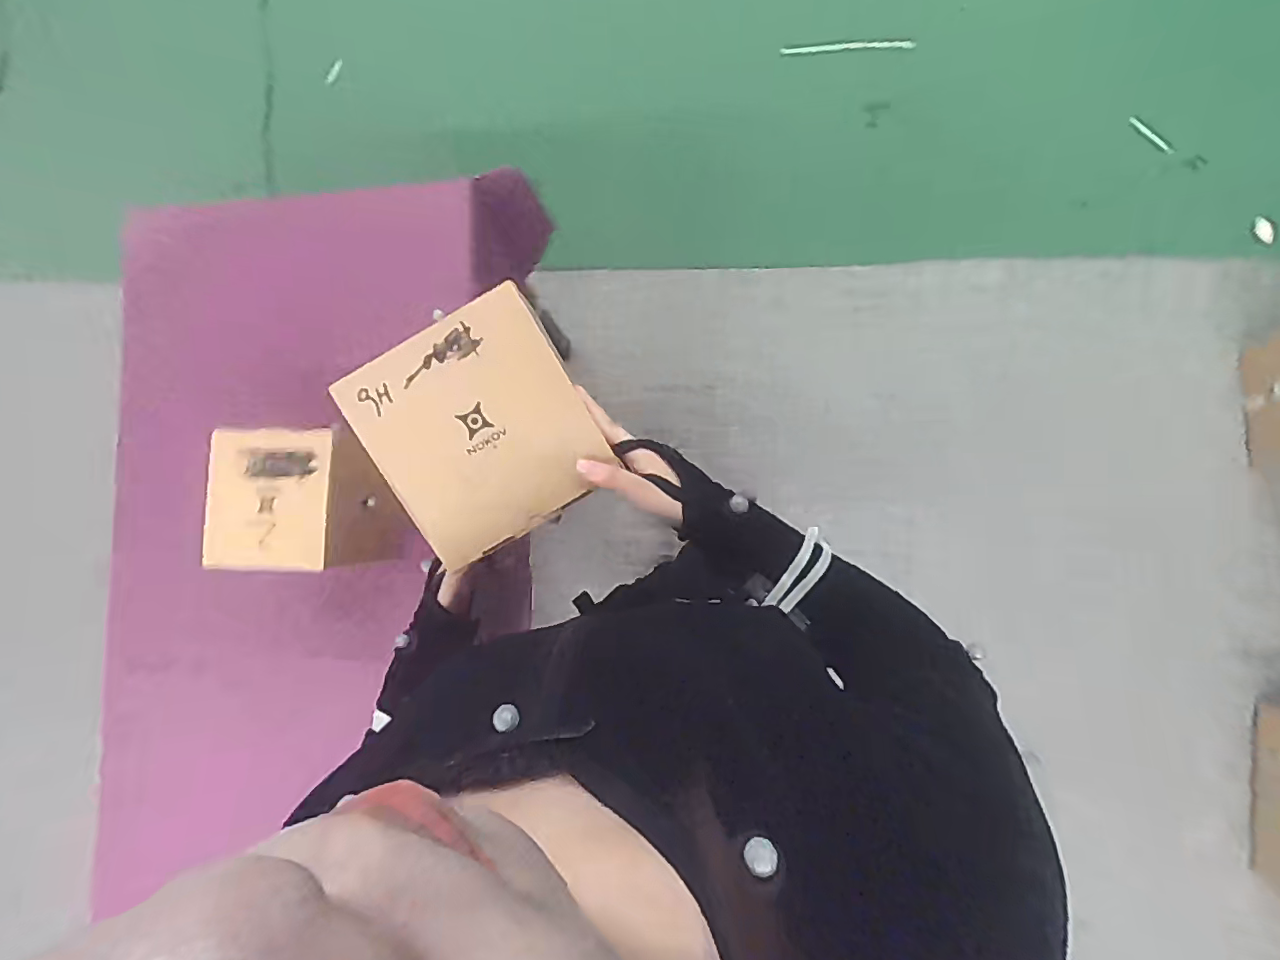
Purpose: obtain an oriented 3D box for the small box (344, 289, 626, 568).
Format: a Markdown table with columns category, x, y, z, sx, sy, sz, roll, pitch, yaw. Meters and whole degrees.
| category | x | y | z | sx | sy | sz | roll | pitch | yaw |
| --- | --- | --- | --- | --- | --- | --- | --- | --- | --- |
| small box | -0.125 | -0.049 | 0.509 | 0.168 | 0.176 | 0.179 | -29 | 98 | 0 |
